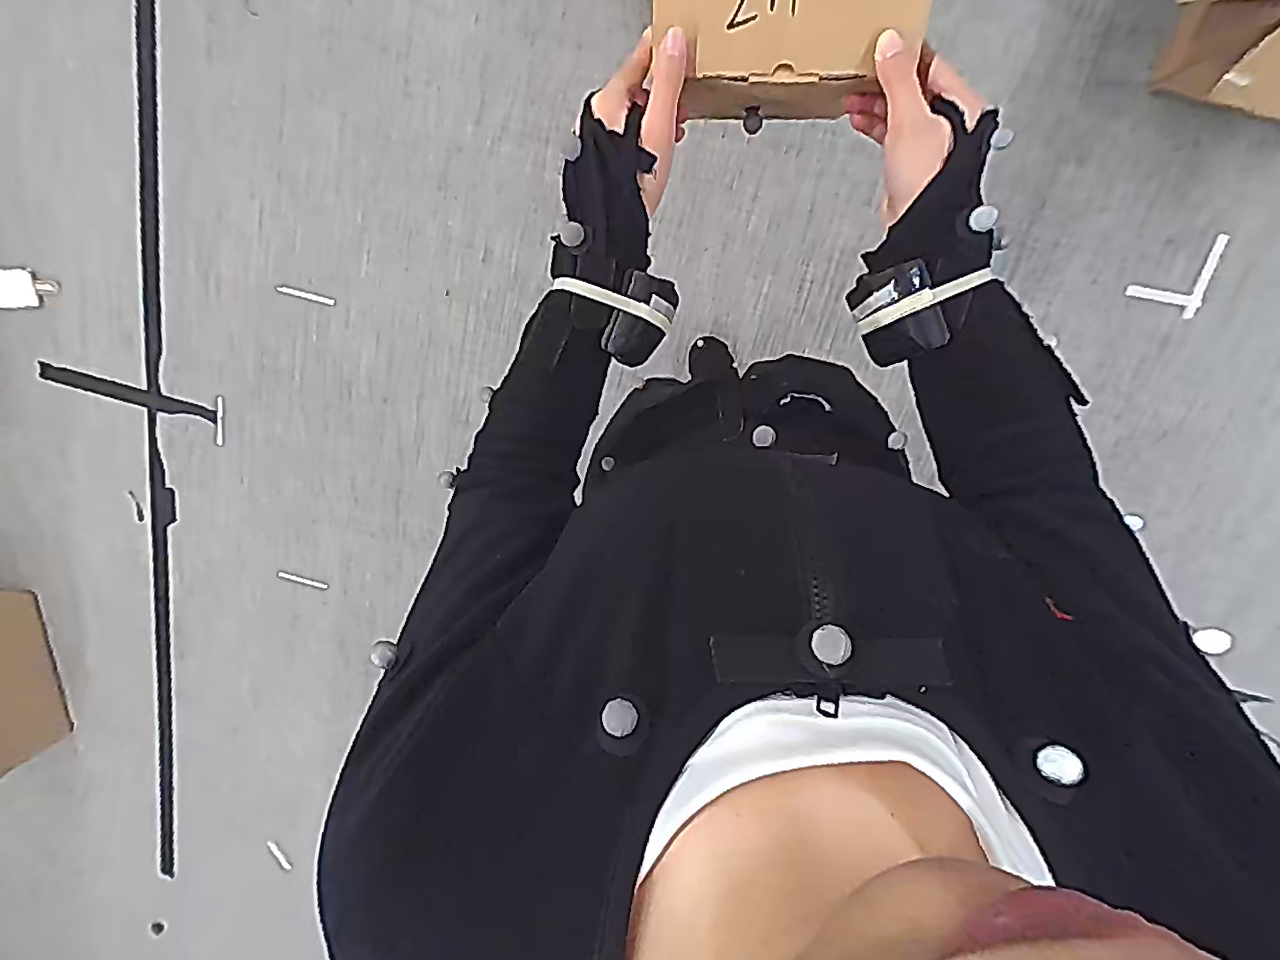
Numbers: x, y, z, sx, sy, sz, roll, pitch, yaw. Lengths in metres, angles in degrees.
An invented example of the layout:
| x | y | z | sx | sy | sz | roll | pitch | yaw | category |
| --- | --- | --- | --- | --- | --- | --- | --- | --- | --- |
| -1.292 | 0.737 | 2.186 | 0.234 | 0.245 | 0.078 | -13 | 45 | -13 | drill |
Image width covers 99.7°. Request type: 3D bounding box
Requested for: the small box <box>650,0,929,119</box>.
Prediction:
| x | y | z | sx | sy | sz | roll | pitch | yaw | category |
| --- | --- | --- | --- | --- | --- | --- | --- | --- | --- |
| 0.092 | -0.367 | 0.370 | 0.168 | 0.176 | 0.179 | 1 | 116 | 1 | small box |
